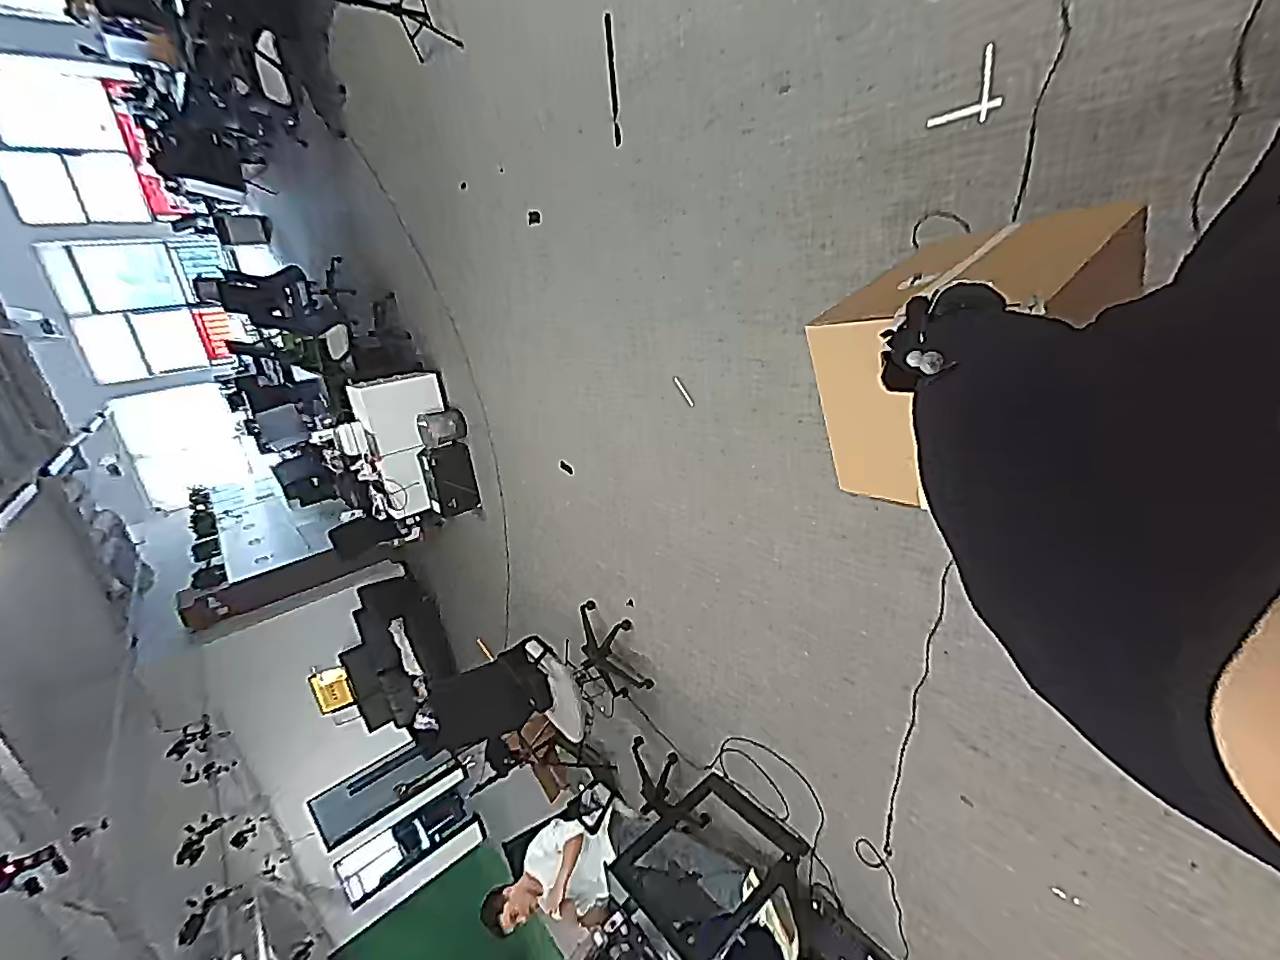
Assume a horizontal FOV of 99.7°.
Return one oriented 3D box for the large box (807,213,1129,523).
[{"bbox_3d":[0.538,-0.186,0.876,0.320,0.408,0.320,11,130,52],"label":"large box"}]
